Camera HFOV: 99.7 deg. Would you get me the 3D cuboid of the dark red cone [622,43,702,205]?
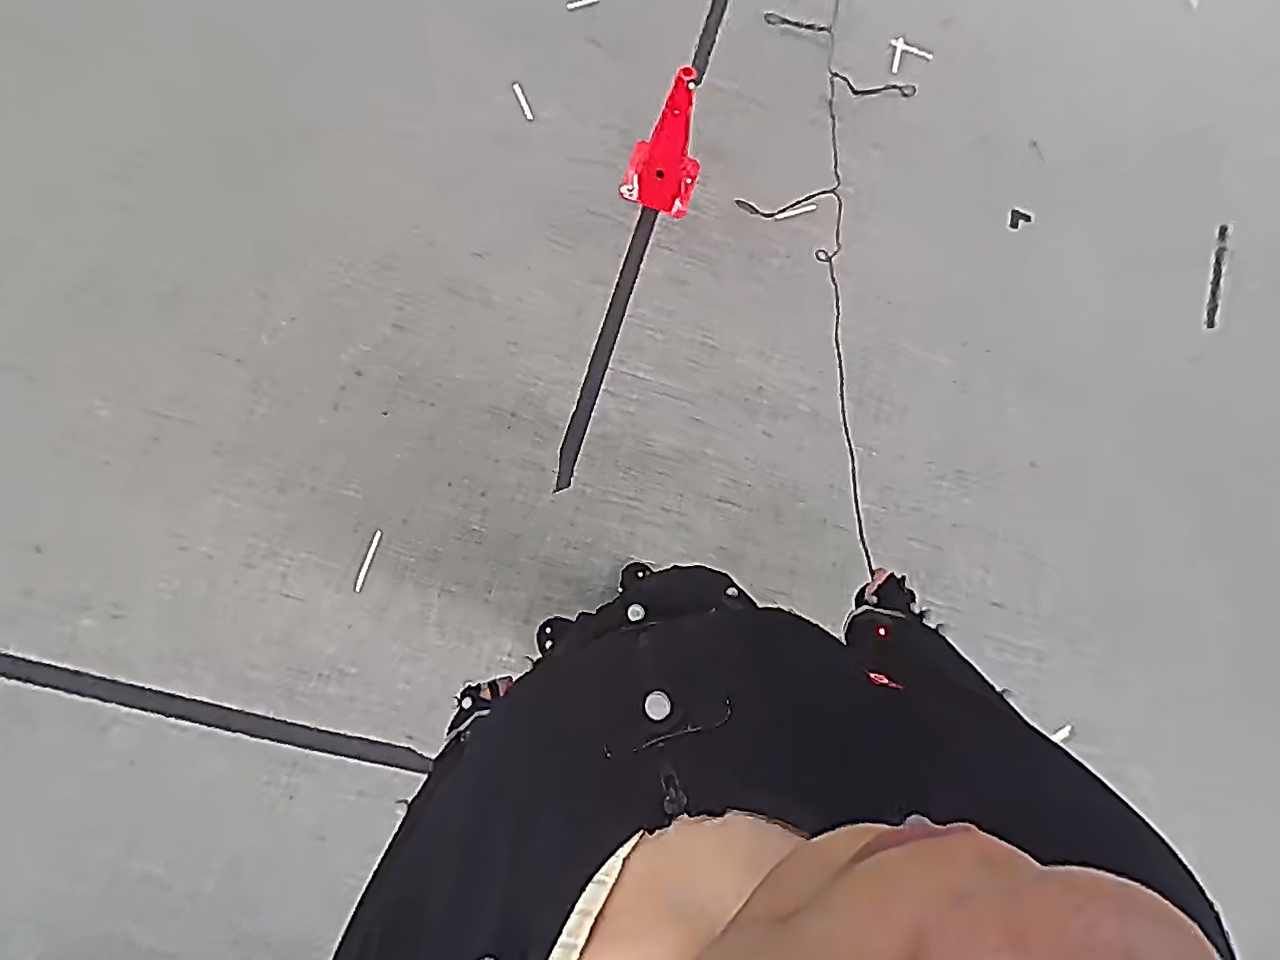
[{"bbox_3d":[0.087,-0.920,1.383,0.201,0.394,0.202,17,79,-6],"label":"dark red cone"}]
